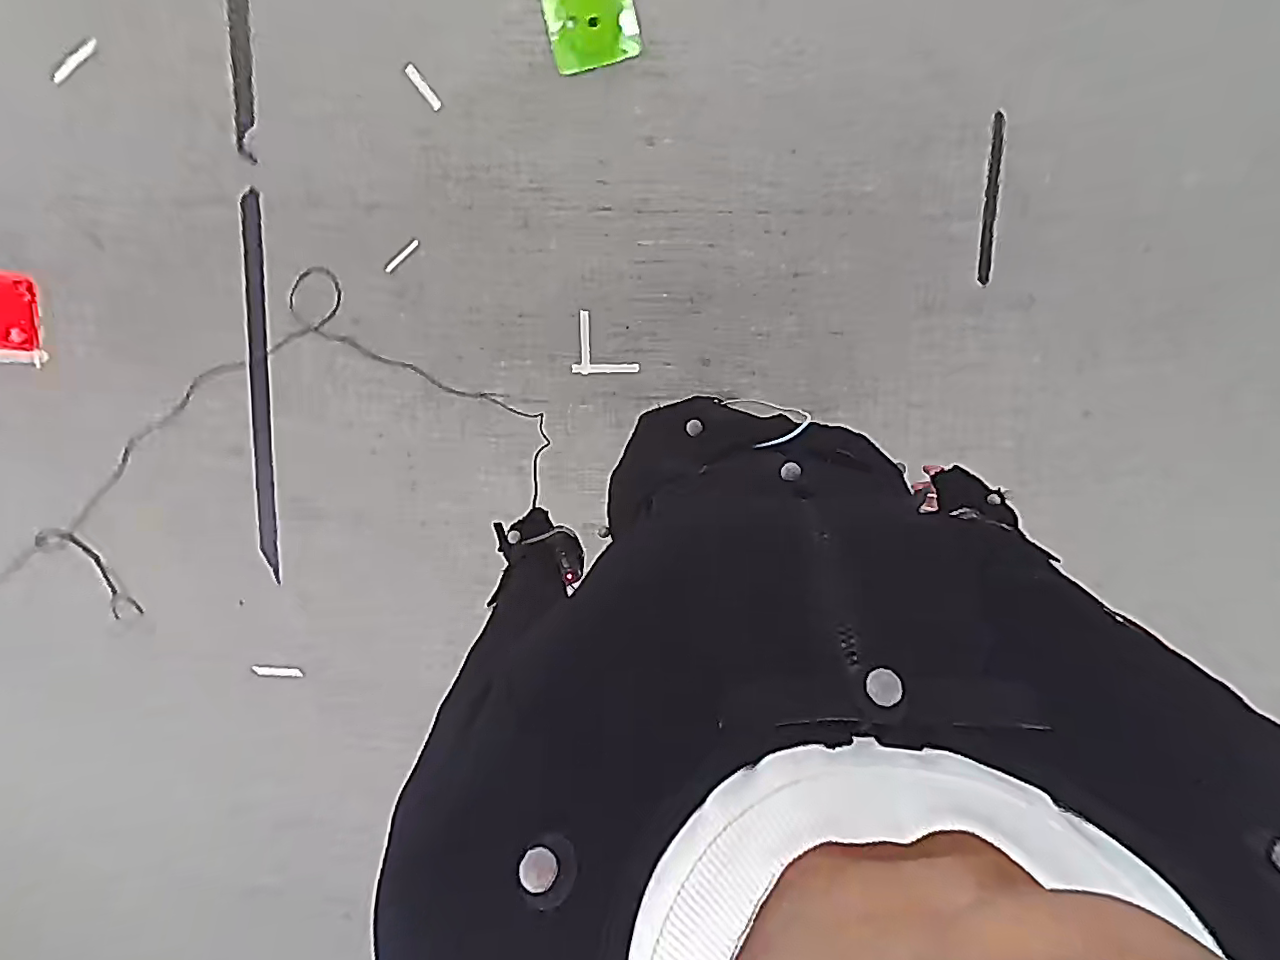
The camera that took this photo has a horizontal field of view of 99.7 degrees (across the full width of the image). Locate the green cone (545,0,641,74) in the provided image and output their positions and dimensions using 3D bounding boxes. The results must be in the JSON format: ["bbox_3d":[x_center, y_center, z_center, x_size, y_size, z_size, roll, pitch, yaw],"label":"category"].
[{"bbox_3d":[-0.118,-1.053,1.099,0.200,0.368,0.202,-13,99,4],"label":"green cone"}]

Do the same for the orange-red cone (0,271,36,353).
[{"bbox_3d":[-1.678,-0.422,1.239,0.198,0.360,0.199,10,97,0],"label":"orange-red cone"}]
